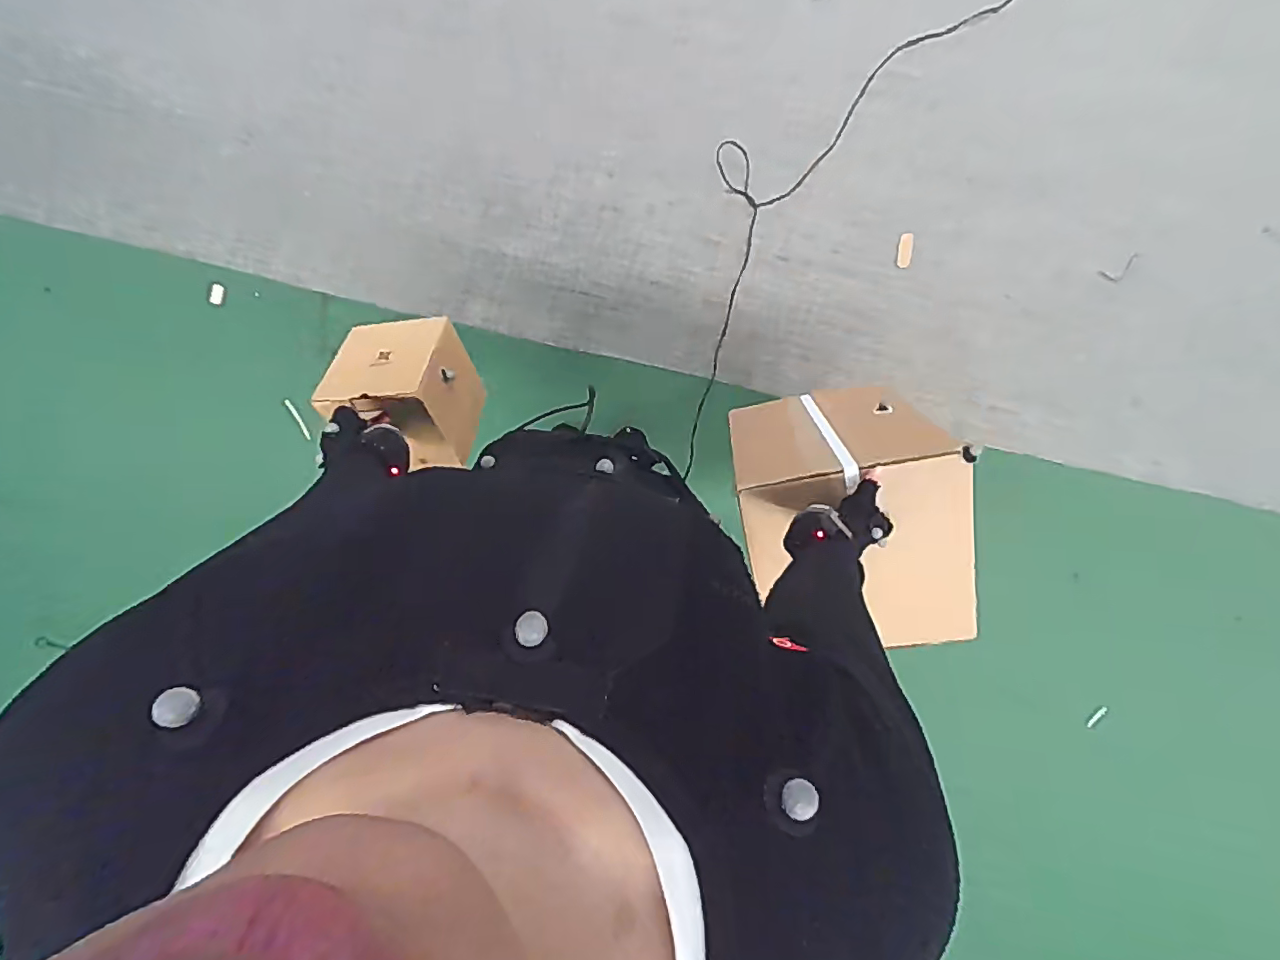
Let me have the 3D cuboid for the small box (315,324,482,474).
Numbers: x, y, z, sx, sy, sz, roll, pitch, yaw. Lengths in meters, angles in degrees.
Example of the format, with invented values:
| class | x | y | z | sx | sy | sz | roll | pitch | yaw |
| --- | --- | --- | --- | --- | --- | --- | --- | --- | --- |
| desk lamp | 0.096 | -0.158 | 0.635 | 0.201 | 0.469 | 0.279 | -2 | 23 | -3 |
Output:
| class | x | y | z | sx | sy | sz | roll | pitch | yaw |
| --- | --- | --- | --- | --- | --- | --- | --- | --- | --- |
| small box | -0.373 | -0.128 | 0.877 | 0.168 | 0.176 | 0.179 | -3 | 51 | 8 |
